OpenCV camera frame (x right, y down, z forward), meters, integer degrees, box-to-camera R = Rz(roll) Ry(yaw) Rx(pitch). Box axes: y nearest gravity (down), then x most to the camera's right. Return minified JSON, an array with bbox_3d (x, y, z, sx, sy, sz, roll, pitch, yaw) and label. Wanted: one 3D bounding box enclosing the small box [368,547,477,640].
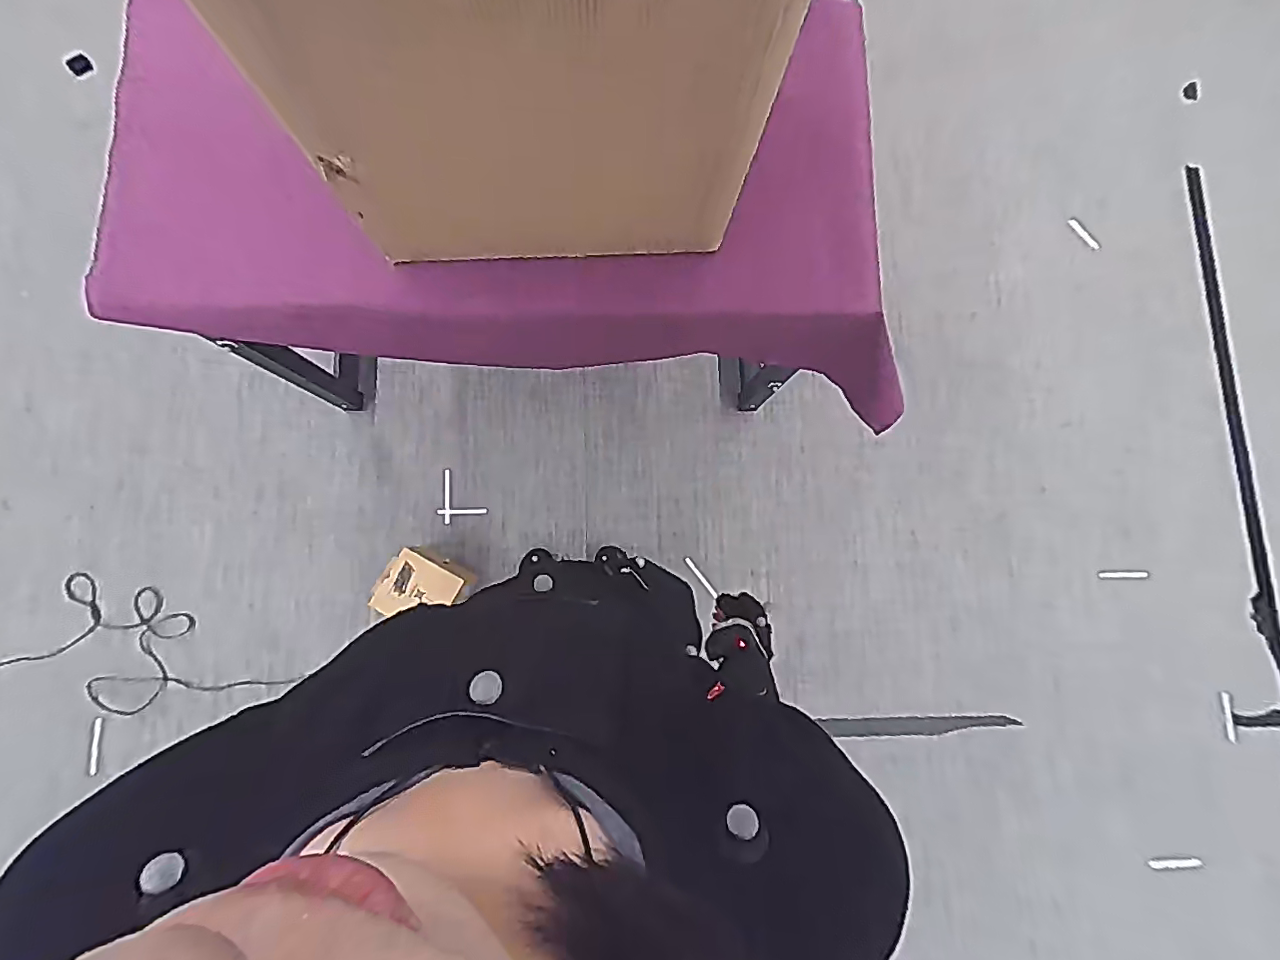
[{"bbox_3d":[-0.552,0.288,1.397,0.179,0.176,0.168,30,82,0],"label":"small box"}]
